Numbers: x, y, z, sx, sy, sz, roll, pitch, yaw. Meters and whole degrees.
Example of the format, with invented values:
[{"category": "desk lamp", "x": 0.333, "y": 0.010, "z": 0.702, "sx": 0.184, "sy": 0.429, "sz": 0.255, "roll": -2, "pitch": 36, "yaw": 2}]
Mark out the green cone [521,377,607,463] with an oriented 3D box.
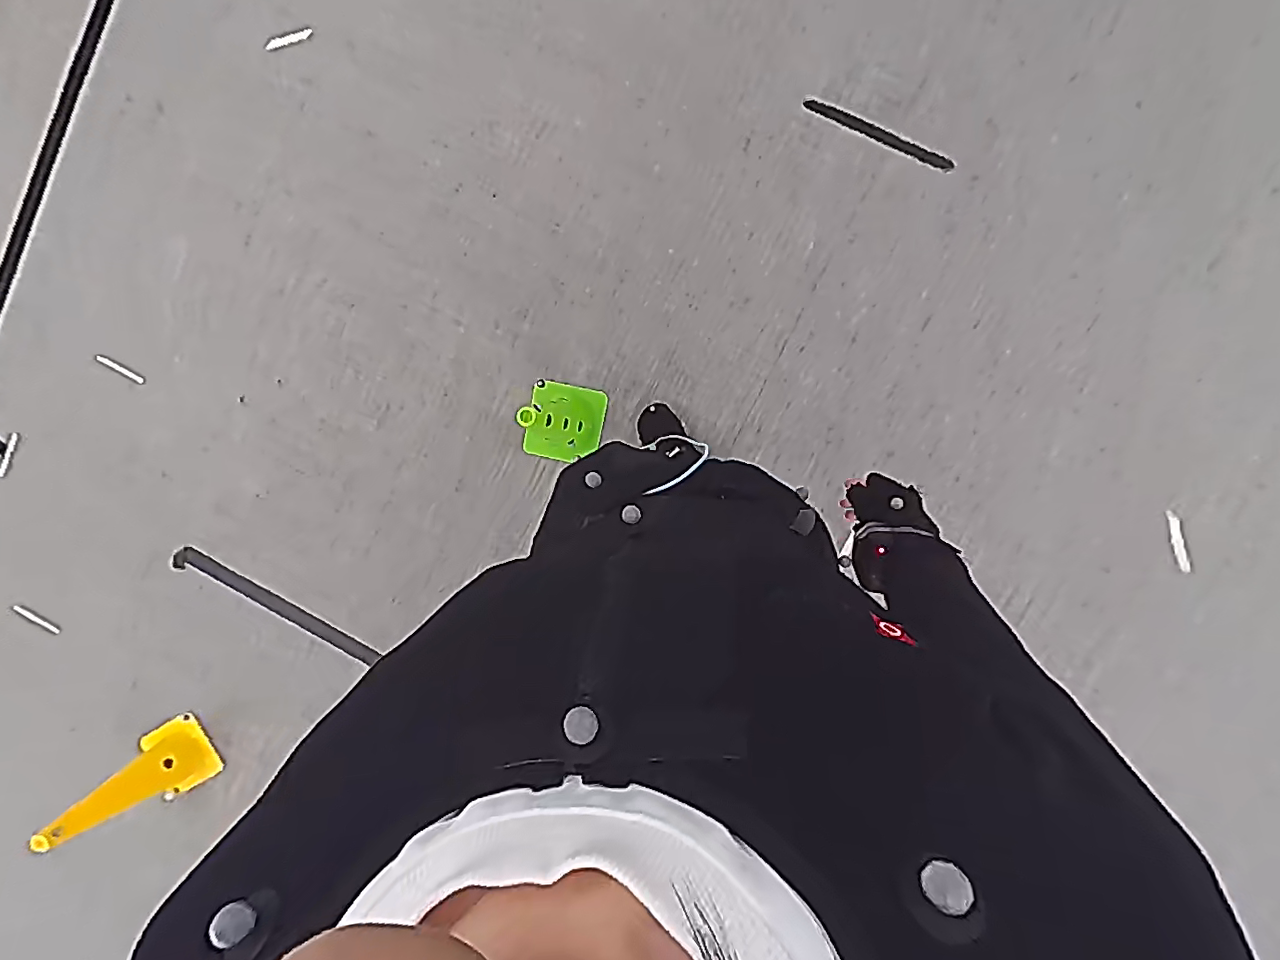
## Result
[{"category": "green cone", "x": -0.210, "y": -0.142, "z": 1.251, "sx": 0.202, "sy": 0.368, "sz": 0.200, "roll": 12, "pitch": 96, "yaw": 3}]
